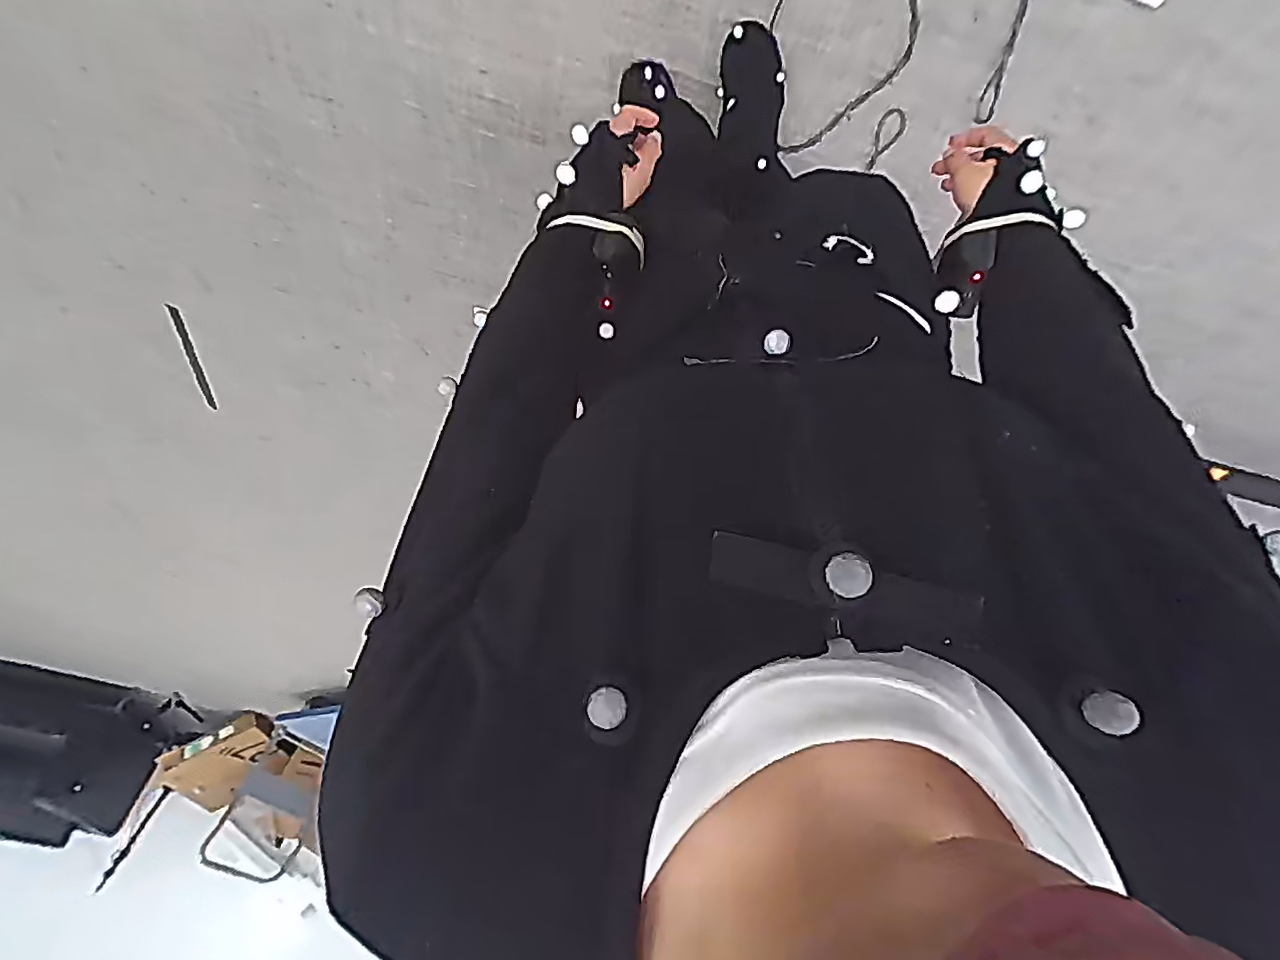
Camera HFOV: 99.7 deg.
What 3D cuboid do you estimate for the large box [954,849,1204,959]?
[{"bbox_3d":[1.123,1.191,1.389,0.408,0.320,0.320,14,134,-5],"label":"large box"}]
